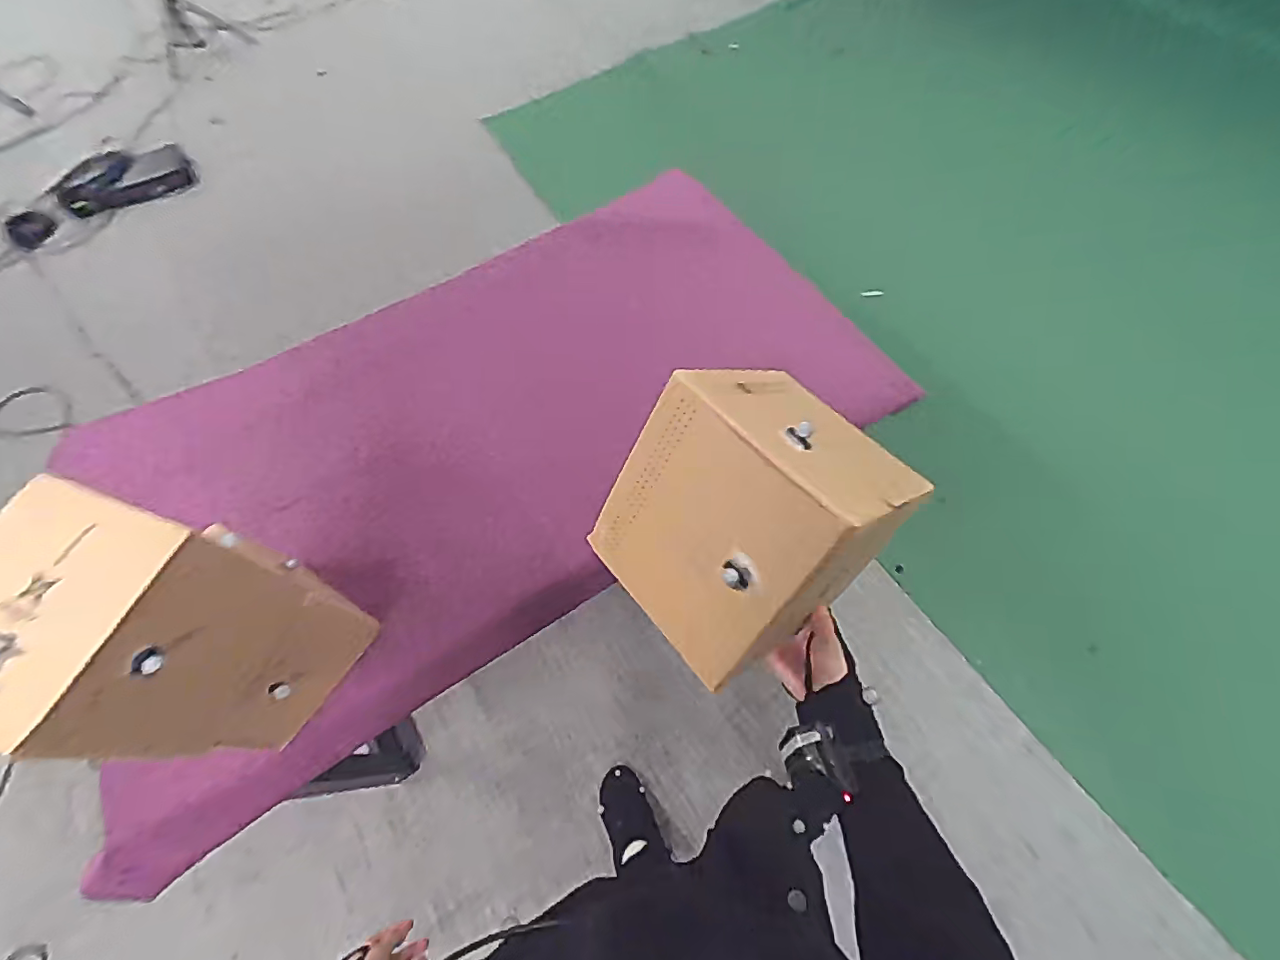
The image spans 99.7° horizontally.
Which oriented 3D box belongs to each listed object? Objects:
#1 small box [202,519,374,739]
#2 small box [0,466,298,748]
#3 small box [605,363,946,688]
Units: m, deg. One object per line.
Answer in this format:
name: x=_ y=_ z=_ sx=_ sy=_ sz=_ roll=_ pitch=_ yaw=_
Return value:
small box: x=-0.457 y=0.182 z=0.634 sx=0.168 sy=0.176 sz=0.179 roll=29 pitch=68 yaw=15
small box: x=-0.457 y=0.120 z=0.480 sx=0.168 sy=0.176 sz=0.179 roll=17 pitch=64 yaw=11
small box: x=0.099 y=0.023 z=0.437 sx=0.168 sy=0.179 sz=0.176 roll=-10 pitch=50 yaw=-48
